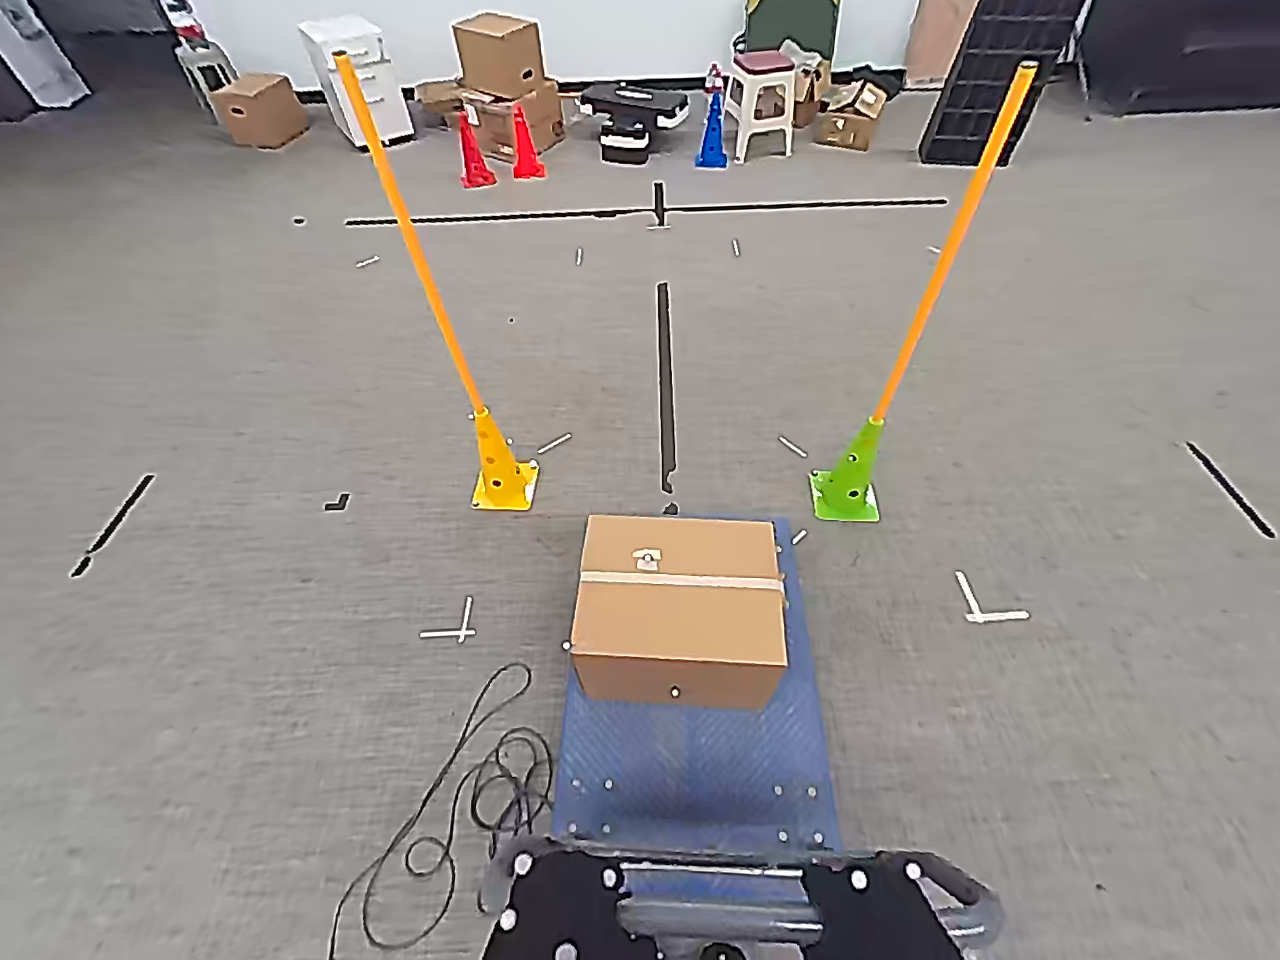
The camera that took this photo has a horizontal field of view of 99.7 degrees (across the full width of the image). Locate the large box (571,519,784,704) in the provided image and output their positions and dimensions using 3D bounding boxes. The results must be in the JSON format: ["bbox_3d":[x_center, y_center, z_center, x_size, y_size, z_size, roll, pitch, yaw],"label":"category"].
[{"bbox_3d":[0.084,0.300,1.211,0.408,0.320,0.320,2,52,4],"label":"large box"}]

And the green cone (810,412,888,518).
[{"bbox_3d":[0.672,-0.063,1.657,0.202,0.368,0.200,3,52,2],"label":"green cone"}]
